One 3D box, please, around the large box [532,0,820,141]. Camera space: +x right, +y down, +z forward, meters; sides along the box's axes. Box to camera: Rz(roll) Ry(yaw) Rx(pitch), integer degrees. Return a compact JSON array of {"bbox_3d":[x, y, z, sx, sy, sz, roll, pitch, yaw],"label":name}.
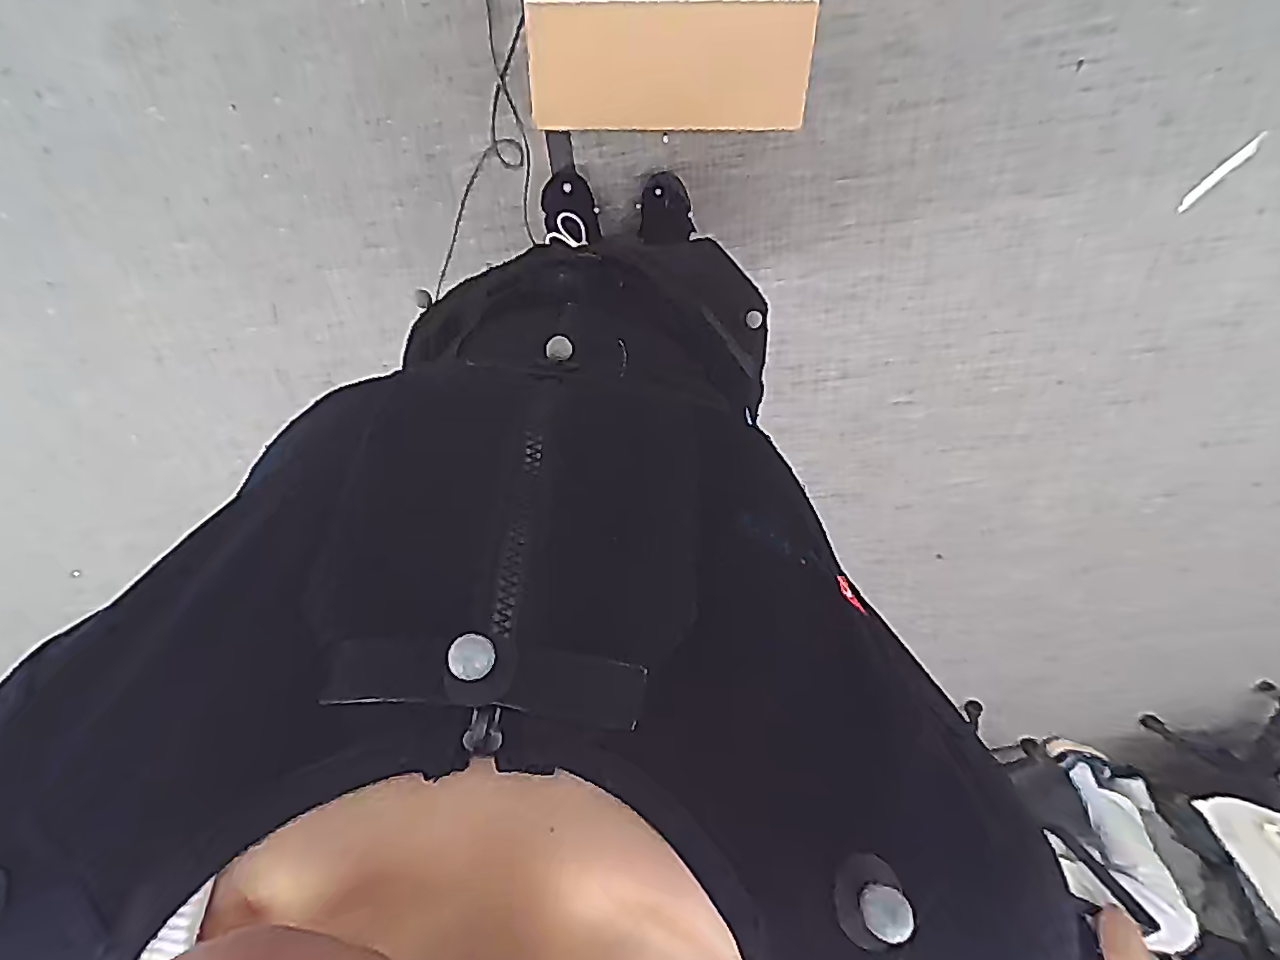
[{"bbox_3d":[0.049,-0.731,0.867,0.408,0.320,0.320,1,123,1],"label":"large box"}]
